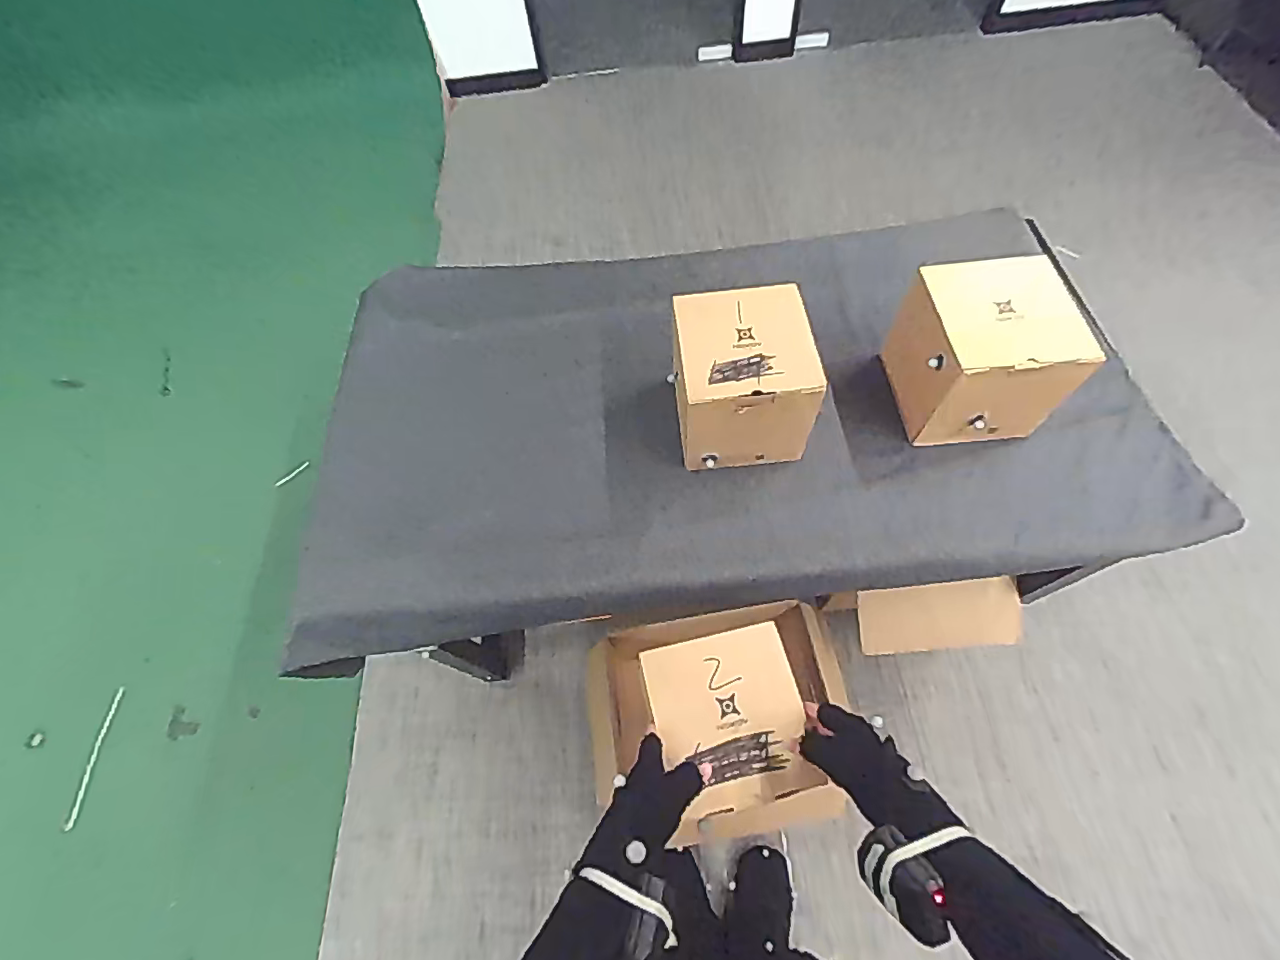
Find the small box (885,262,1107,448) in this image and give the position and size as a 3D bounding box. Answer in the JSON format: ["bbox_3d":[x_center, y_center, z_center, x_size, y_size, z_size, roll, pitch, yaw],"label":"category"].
[{"bbox_3d":[0.457,-0.163,0.733,0.168,0.176,0.179,-5,62,2],"label":"small box"}]

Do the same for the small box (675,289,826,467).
[{"bbox_3d":[0.138,-0.128,0.738,0.168,0.176,0.179,-5,61,2],"label":"small box"}]
